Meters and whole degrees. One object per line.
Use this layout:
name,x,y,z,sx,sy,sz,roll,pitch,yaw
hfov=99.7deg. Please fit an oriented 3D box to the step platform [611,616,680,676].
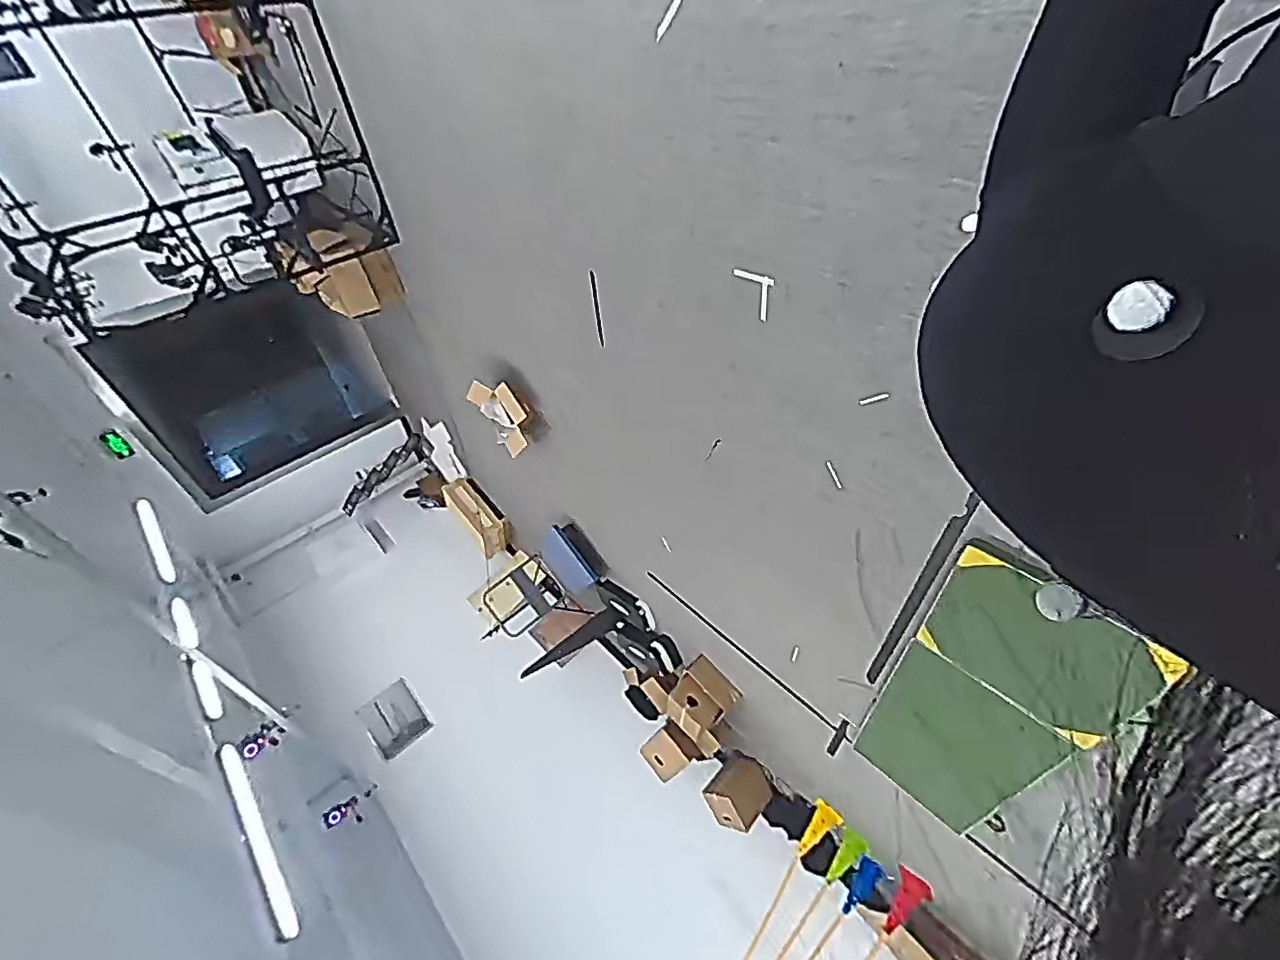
step platform,0.028,1.396,4.555,0.684,0.204,0.286,6,126,54
